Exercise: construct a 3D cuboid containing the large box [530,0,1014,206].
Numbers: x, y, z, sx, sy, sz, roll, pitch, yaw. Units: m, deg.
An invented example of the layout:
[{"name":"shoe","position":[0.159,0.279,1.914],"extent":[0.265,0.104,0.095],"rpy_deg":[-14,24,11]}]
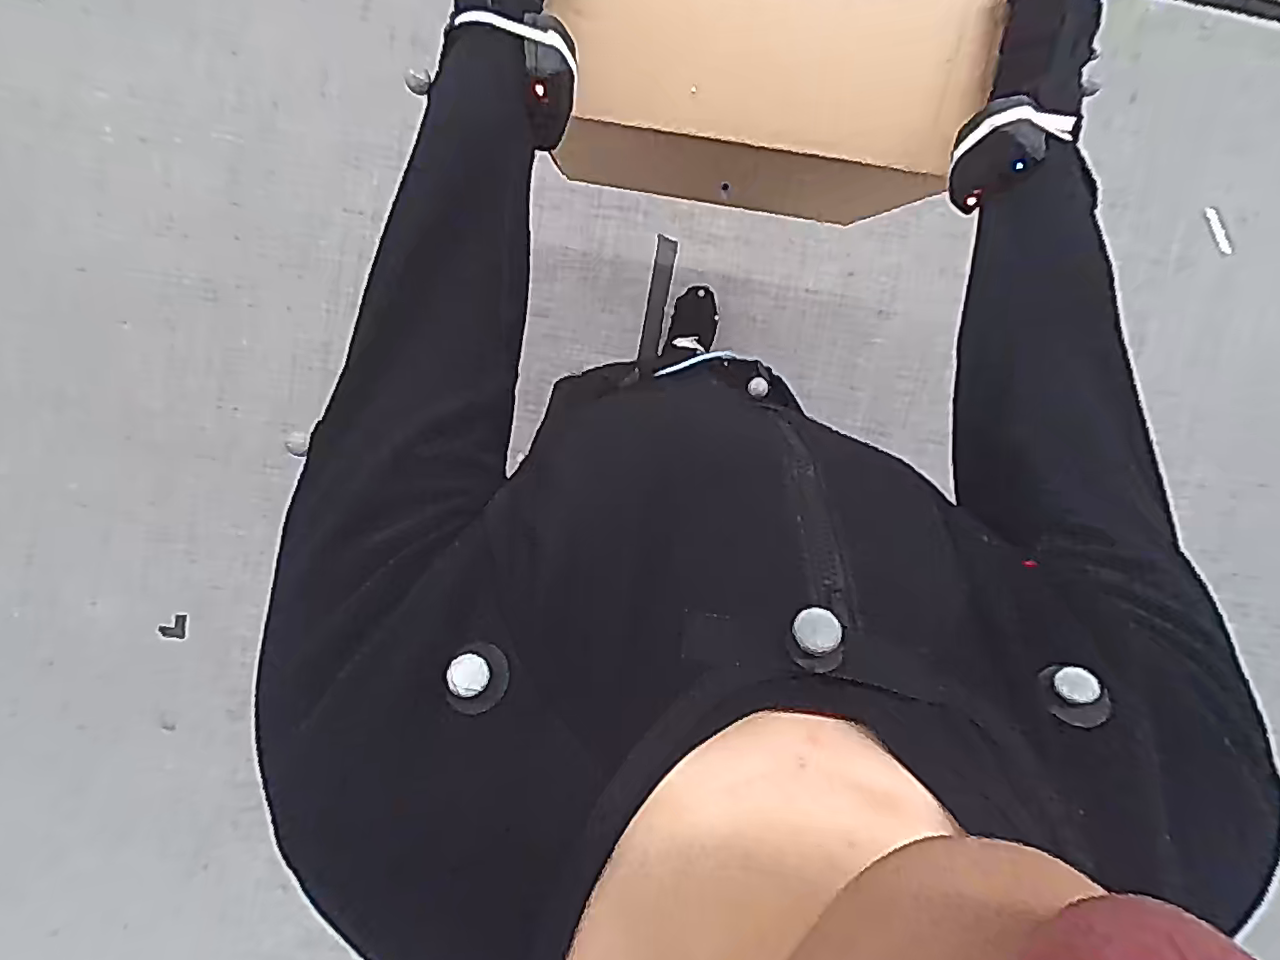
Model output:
[{"name":"large box","position":[0.120,-0.500,0.571],"extent":[0.408,0.320,0.320],"rpy_deg":[7,108,-3]}]
